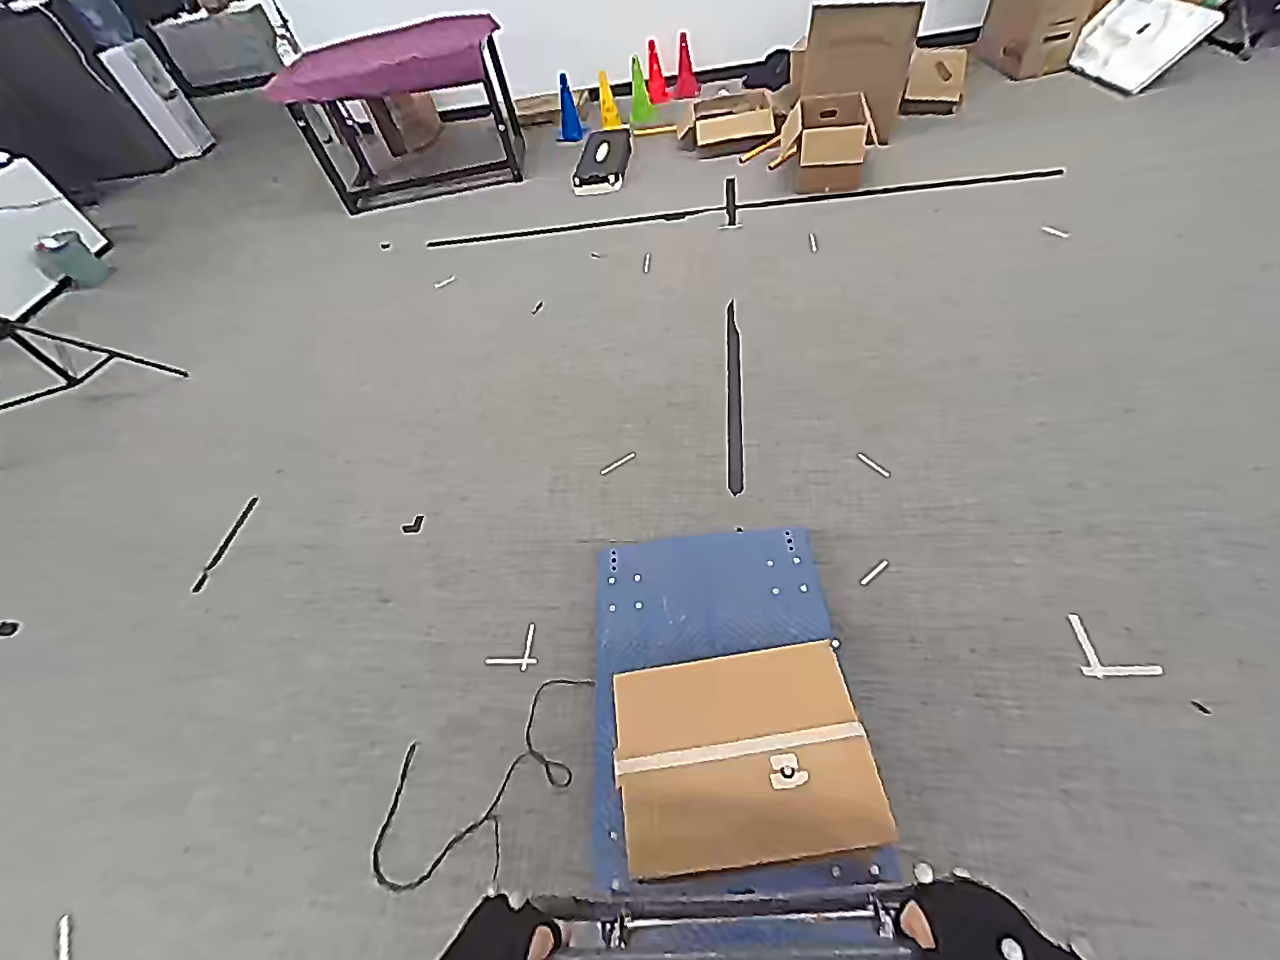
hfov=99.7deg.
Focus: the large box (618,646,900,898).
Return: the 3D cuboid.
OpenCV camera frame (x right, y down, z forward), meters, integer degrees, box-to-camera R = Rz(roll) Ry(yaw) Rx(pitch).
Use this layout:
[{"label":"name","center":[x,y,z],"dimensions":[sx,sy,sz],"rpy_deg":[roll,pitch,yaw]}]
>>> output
[{"label":"large box","center":[0.191,0.550,1.007],"dimensions":[0.408,0.320,0.320],"rpy_deg":[-10,51,2]}]
